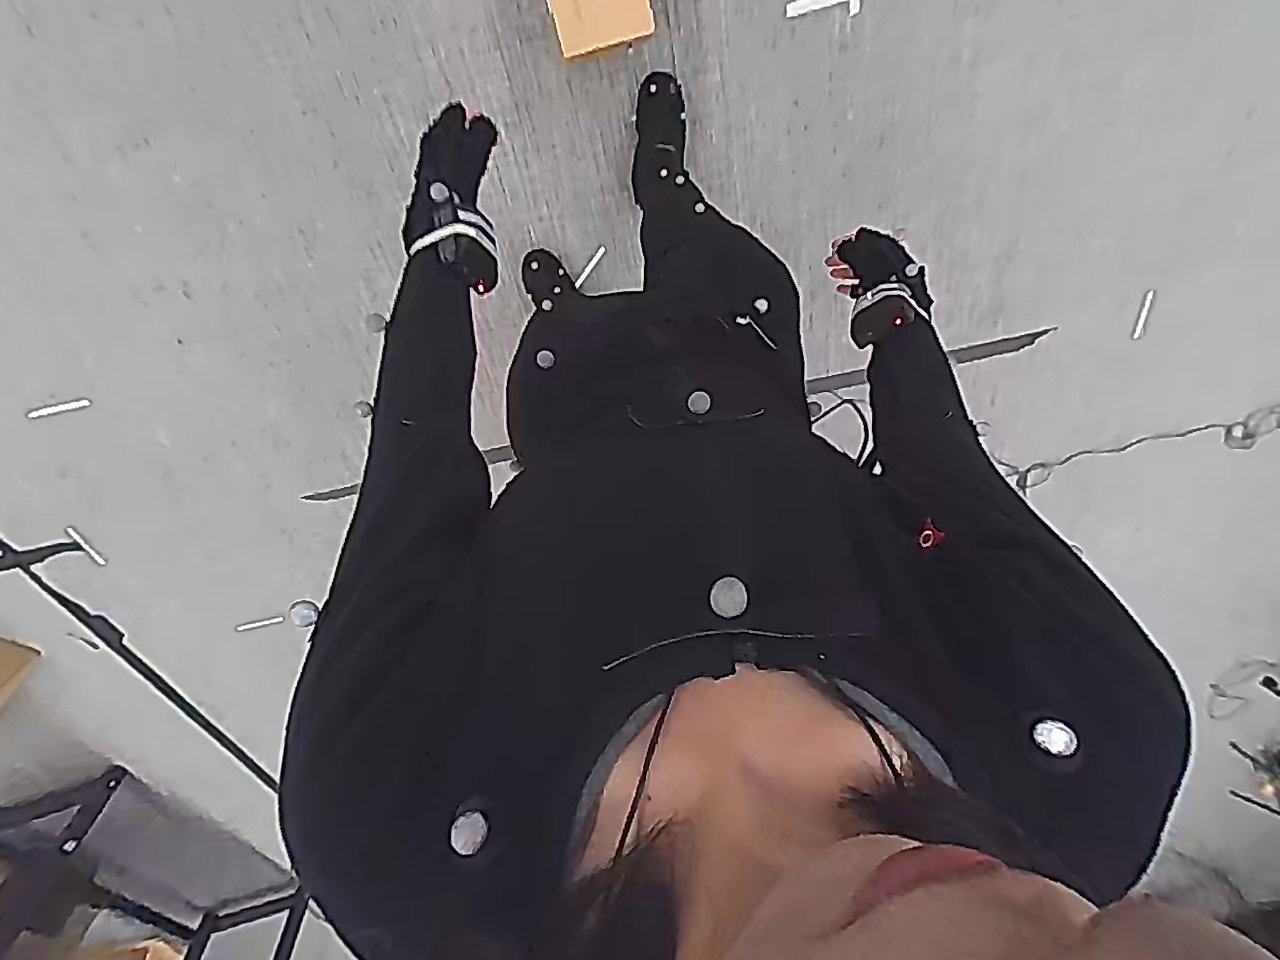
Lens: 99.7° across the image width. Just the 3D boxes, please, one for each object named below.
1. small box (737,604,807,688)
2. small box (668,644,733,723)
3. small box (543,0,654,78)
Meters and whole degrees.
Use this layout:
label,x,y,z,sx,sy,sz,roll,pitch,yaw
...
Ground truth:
label,x,y,z,sx,sy,sz,roll,pitch,yaw
small box,0.420,0.527,1.726,0.168,0.176,0.179,-16,123,1
small box,0.198,0.662,1.776,0.179,0.176,0.168,-11,123,-1
small box,-0.085,-0.883,1.014,0.179,0.176,0.168,-15,121,2
